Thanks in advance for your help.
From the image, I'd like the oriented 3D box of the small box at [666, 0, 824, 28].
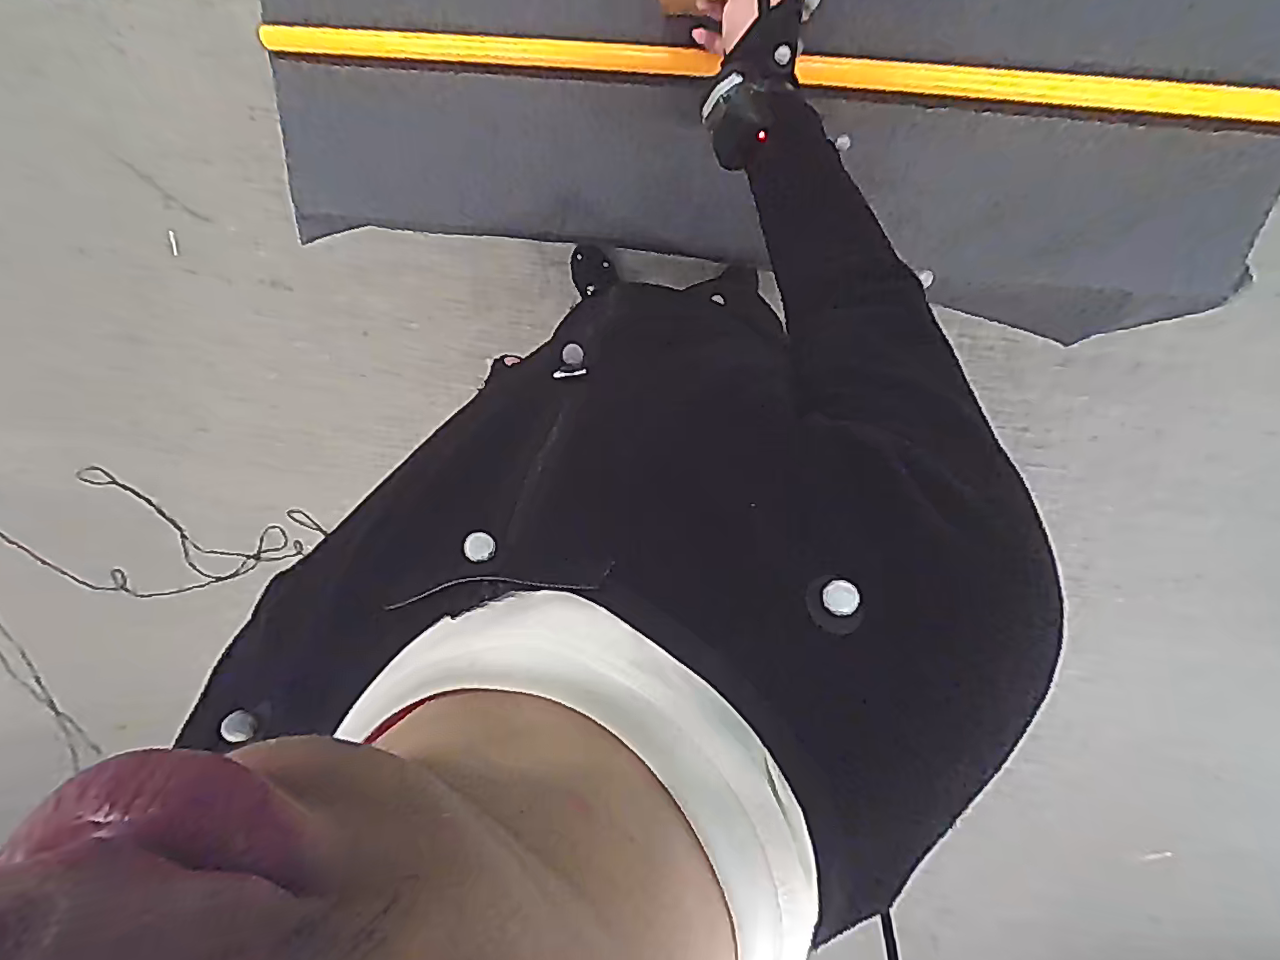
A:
[{"bbox_3d":[0.105,-0.563,0.513,0.168,0.176,0.179,7,112,11],"label":"small box"}]
